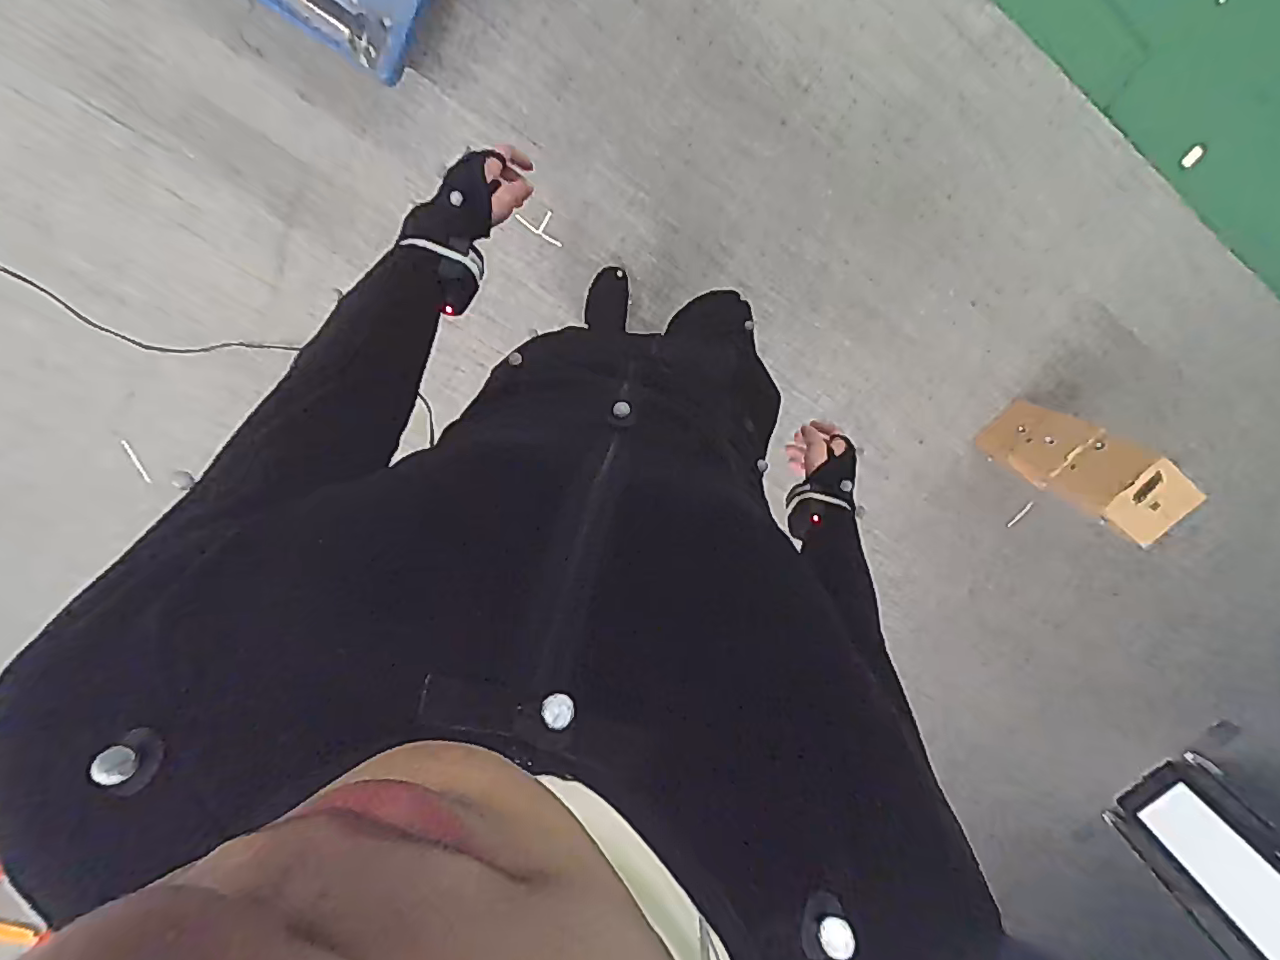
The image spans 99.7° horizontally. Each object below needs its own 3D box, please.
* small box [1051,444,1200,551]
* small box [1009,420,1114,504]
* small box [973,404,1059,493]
[{"bbox_3d":[1.154,0.032,1.303,0.179,0.176,0.168,34,107,-15],"label":"small box"},{"bbox_3d":[1.149,-0.043,1.450,0.179,0.176,0.168,36,107,-14],"label":"small box"},{"bbox_3d":[1.145,-0.100,1.603,0.168,0.176,0.179,36,107,-15],"label":"small box"}]
